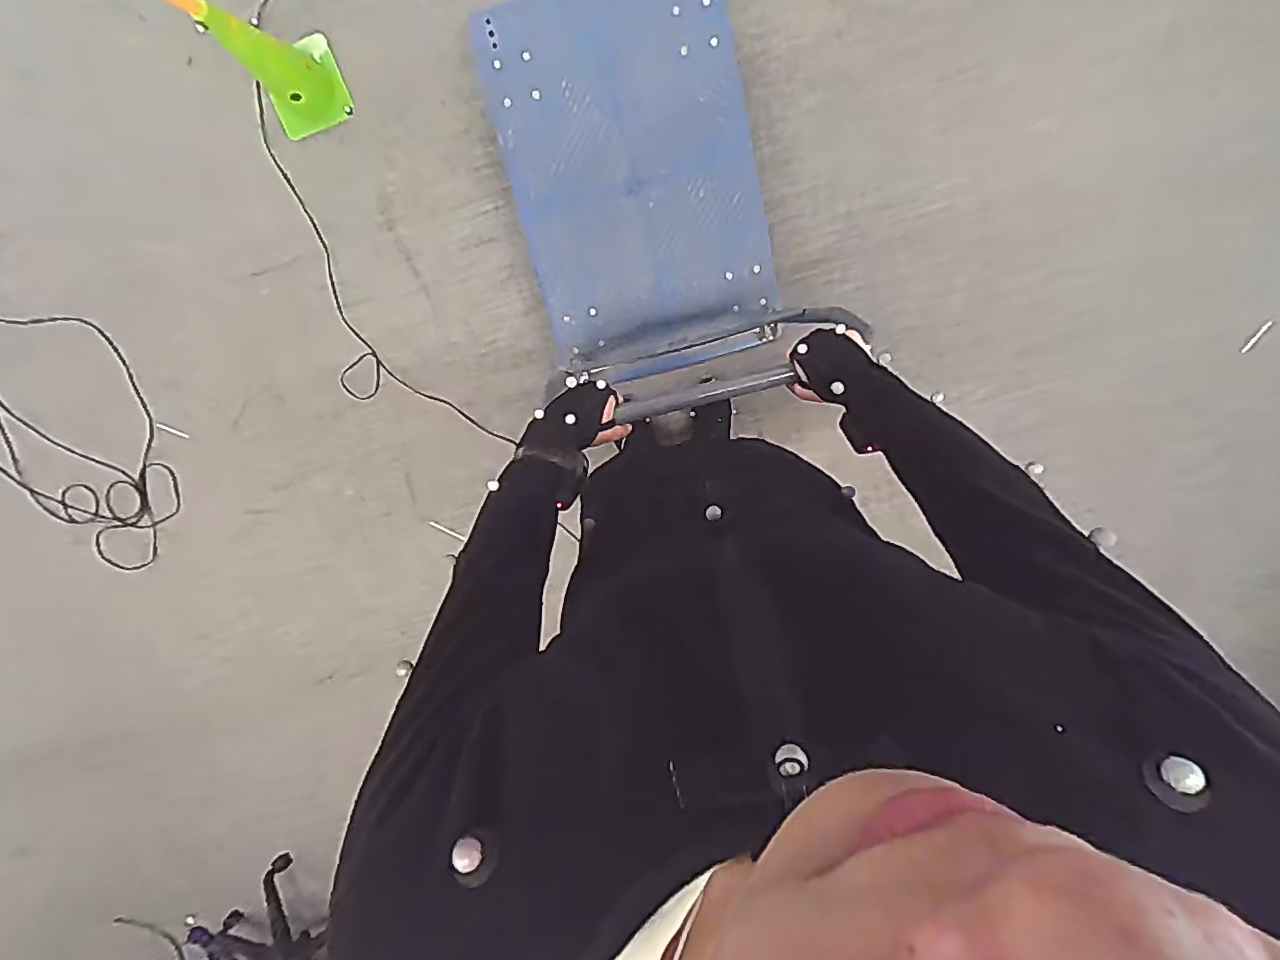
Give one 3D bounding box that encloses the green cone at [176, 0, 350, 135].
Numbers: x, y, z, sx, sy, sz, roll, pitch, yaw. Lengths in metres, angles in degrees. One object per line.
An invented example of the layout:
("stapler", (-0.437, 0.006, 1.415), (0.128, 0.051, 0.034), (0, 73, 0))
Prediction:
("green cone", (-0.879, -0.986, 1.230), (0.202, 0.368, 0.200), (-19, 103, 8))
